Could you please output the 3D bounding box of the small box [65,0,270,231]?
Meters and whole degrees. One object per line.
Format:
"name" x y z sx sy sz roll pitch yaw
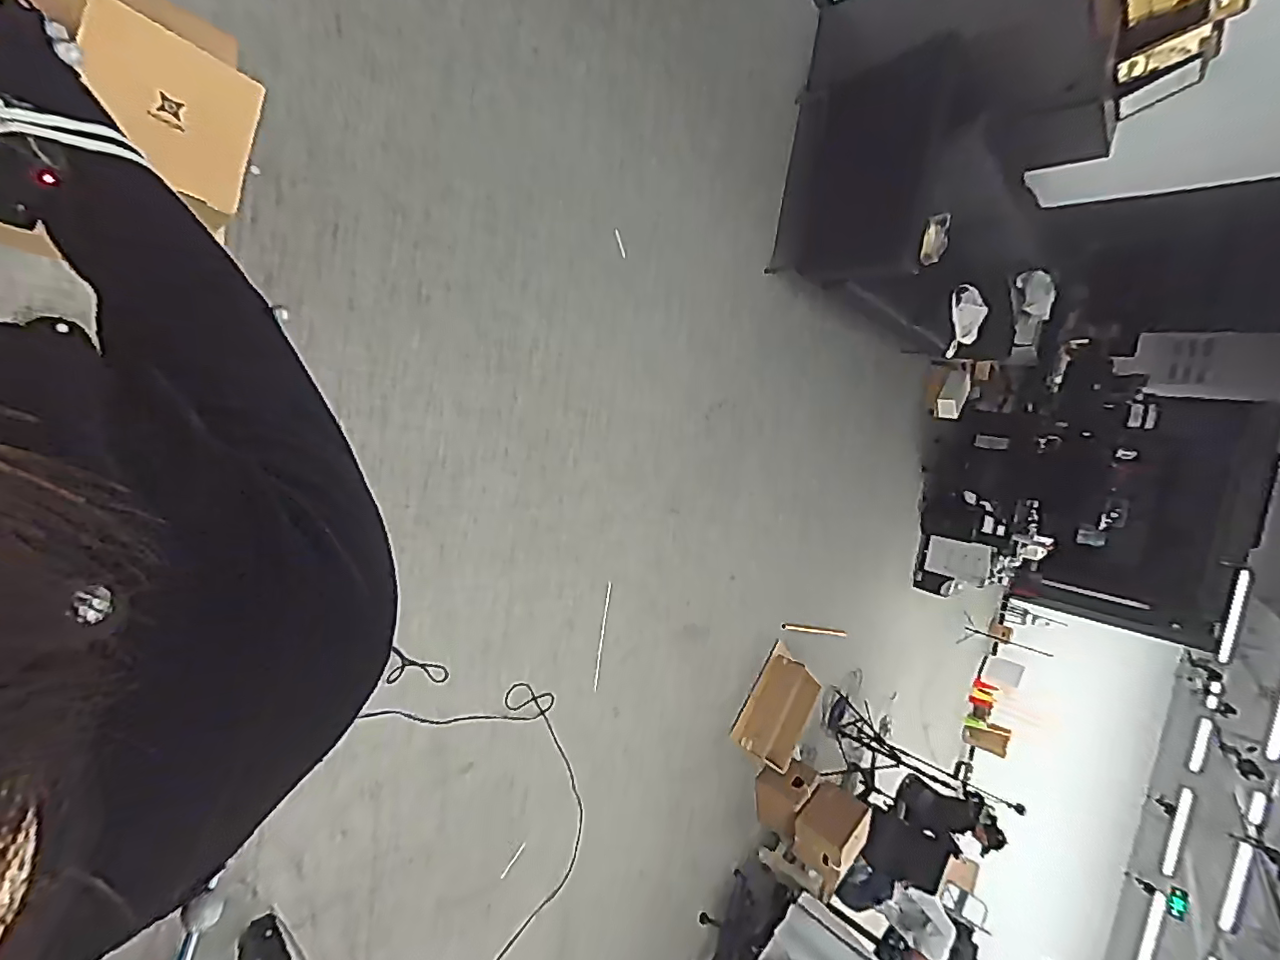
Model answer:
"small box" -0.611 -0.452 0.700 0.168 0.176 0.179 12 91 -46
